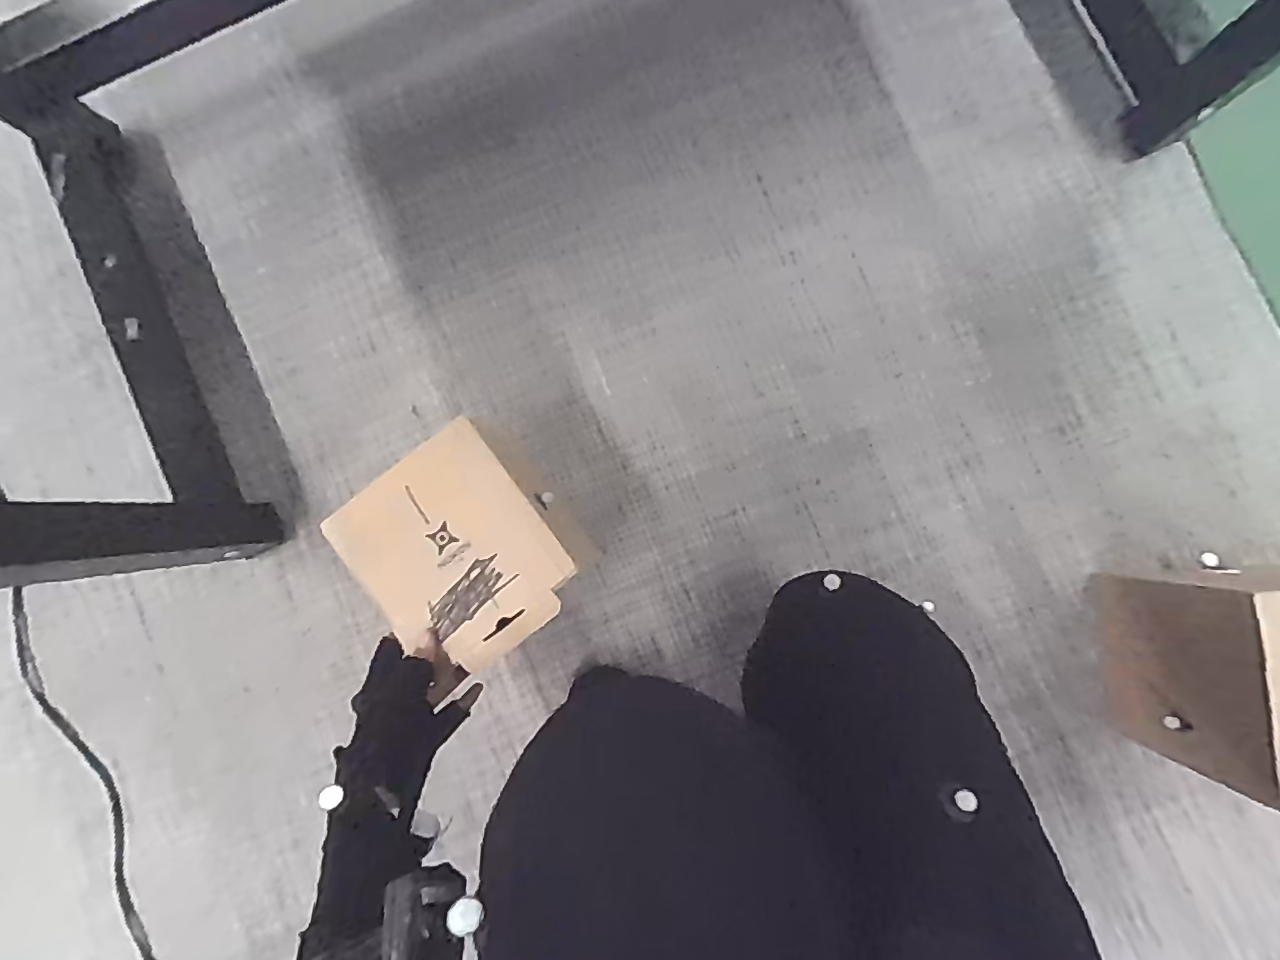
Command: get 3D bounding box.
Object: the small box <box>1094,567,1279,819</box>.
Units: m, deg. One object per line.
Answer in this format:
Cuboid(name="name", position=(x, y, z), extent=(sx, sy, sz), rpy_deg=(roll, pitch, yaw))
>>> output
Cuboid(name="small box", position=(0.580, 0.182, 0.508), extent=(0.168, 0.176, 0.179), rpy_deg=(-5, 86, 1))
